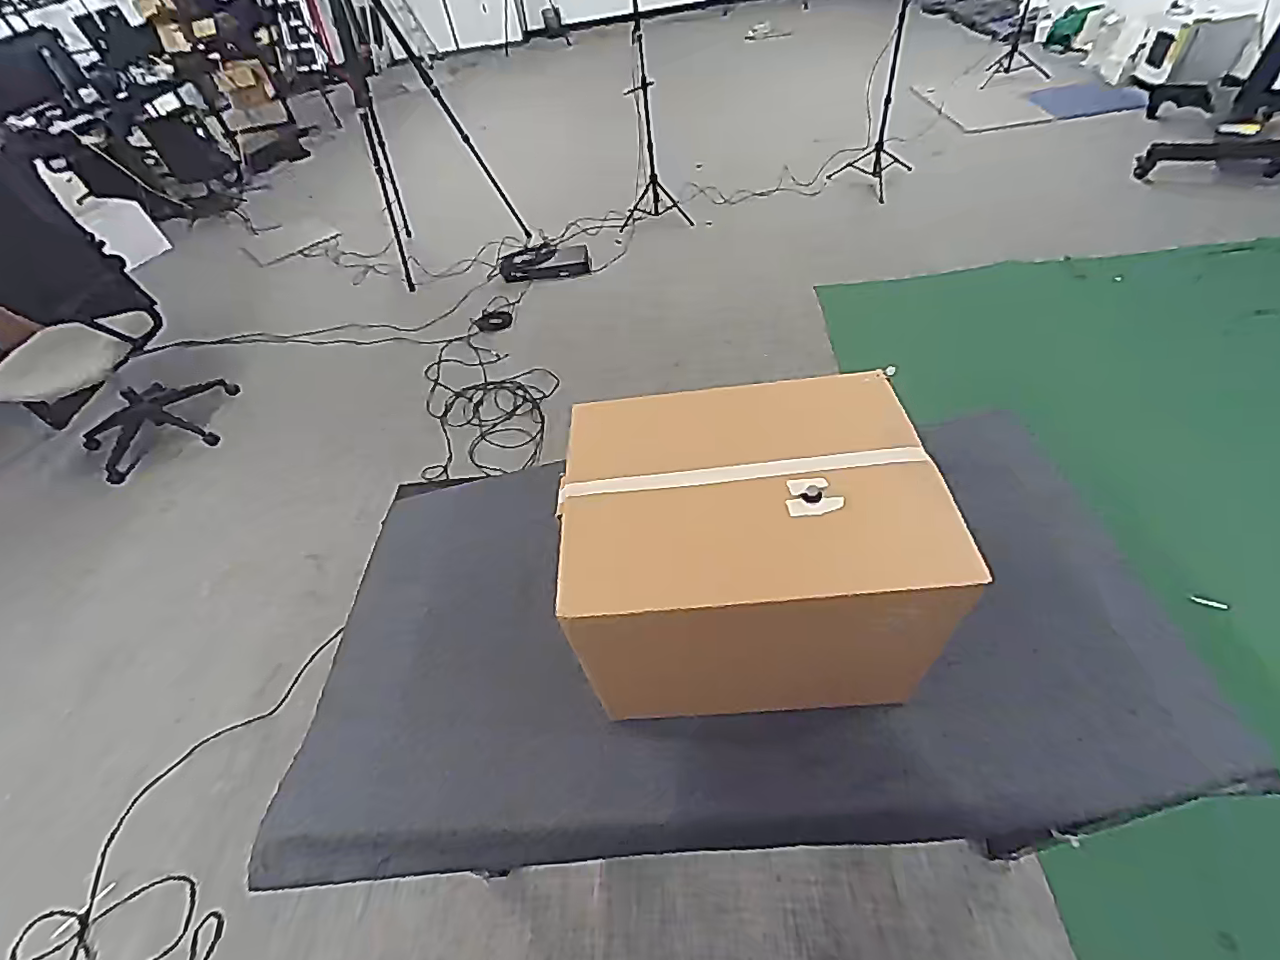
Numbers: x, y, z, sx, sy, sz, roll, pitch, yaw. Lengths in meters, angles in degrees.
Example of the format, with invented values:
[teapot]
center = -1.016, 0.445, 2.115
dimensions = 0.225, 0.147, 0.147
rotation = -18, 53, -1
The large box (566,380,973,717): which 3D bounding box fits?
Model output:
[large box]
center = 0.132, 0.101, 0.731
dimensions = 0.408, 0.320, 0.320
rotation = -6, 49, 4
